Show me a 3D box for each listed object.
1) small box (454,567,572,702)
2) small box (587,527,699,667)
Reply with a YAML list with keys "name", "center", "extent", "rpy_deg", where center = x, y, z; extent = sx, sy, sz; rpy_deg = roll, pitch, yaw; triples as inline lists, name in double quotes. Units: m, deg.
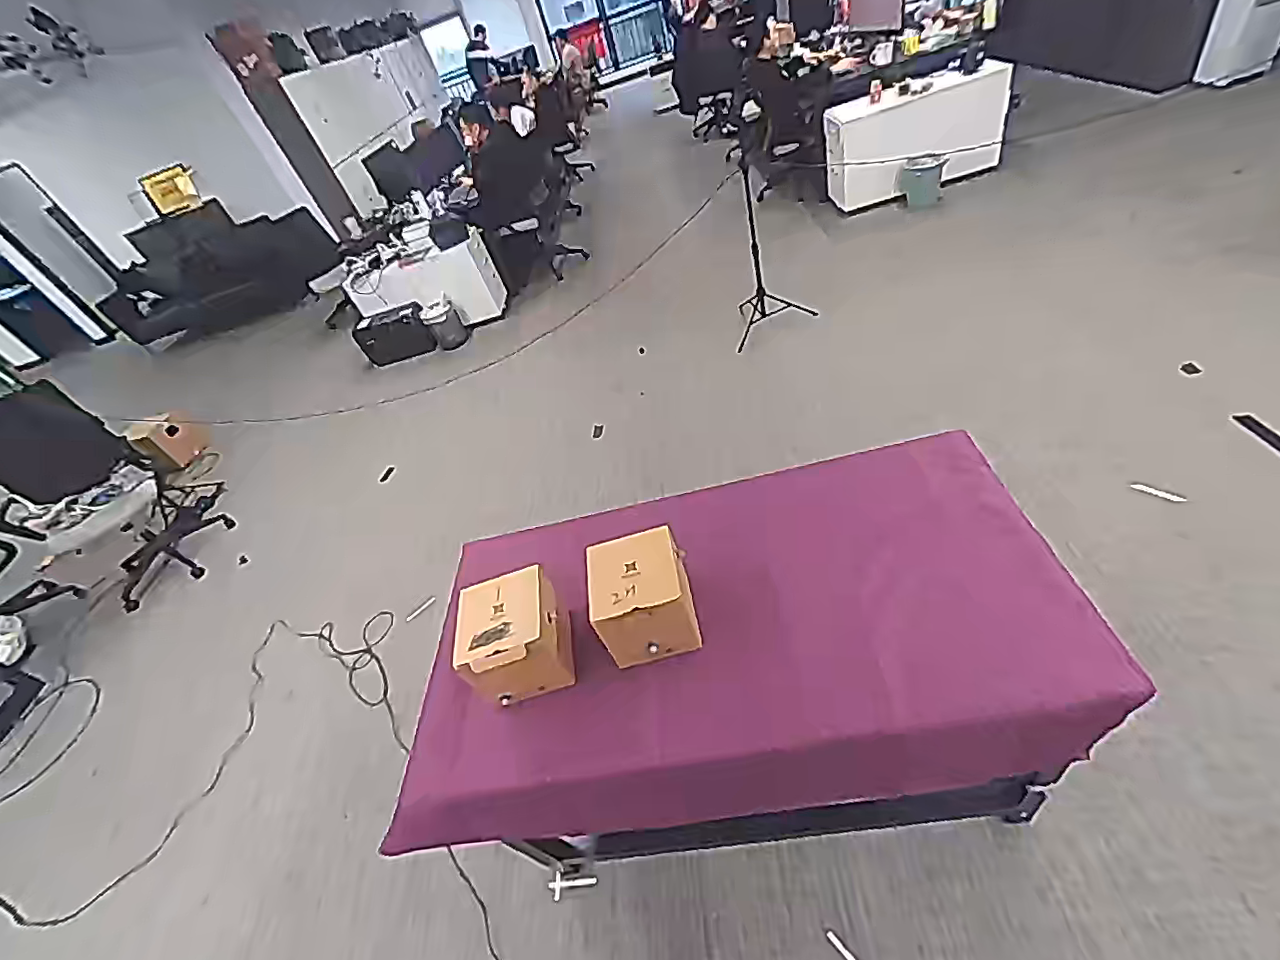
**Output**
- name: "small box"
  center: [-0.239, 0.306, 1.046]
  extent: [0.168, 0.176, 0.179]
  rpy_deg: [-19, 41, 3]
- name: "small box"
  center: [0.004, 0.224, 1.029]
  extent: [0.168, 0.176, 0.179]
  rpy_deg: [-17, 42, 6]
